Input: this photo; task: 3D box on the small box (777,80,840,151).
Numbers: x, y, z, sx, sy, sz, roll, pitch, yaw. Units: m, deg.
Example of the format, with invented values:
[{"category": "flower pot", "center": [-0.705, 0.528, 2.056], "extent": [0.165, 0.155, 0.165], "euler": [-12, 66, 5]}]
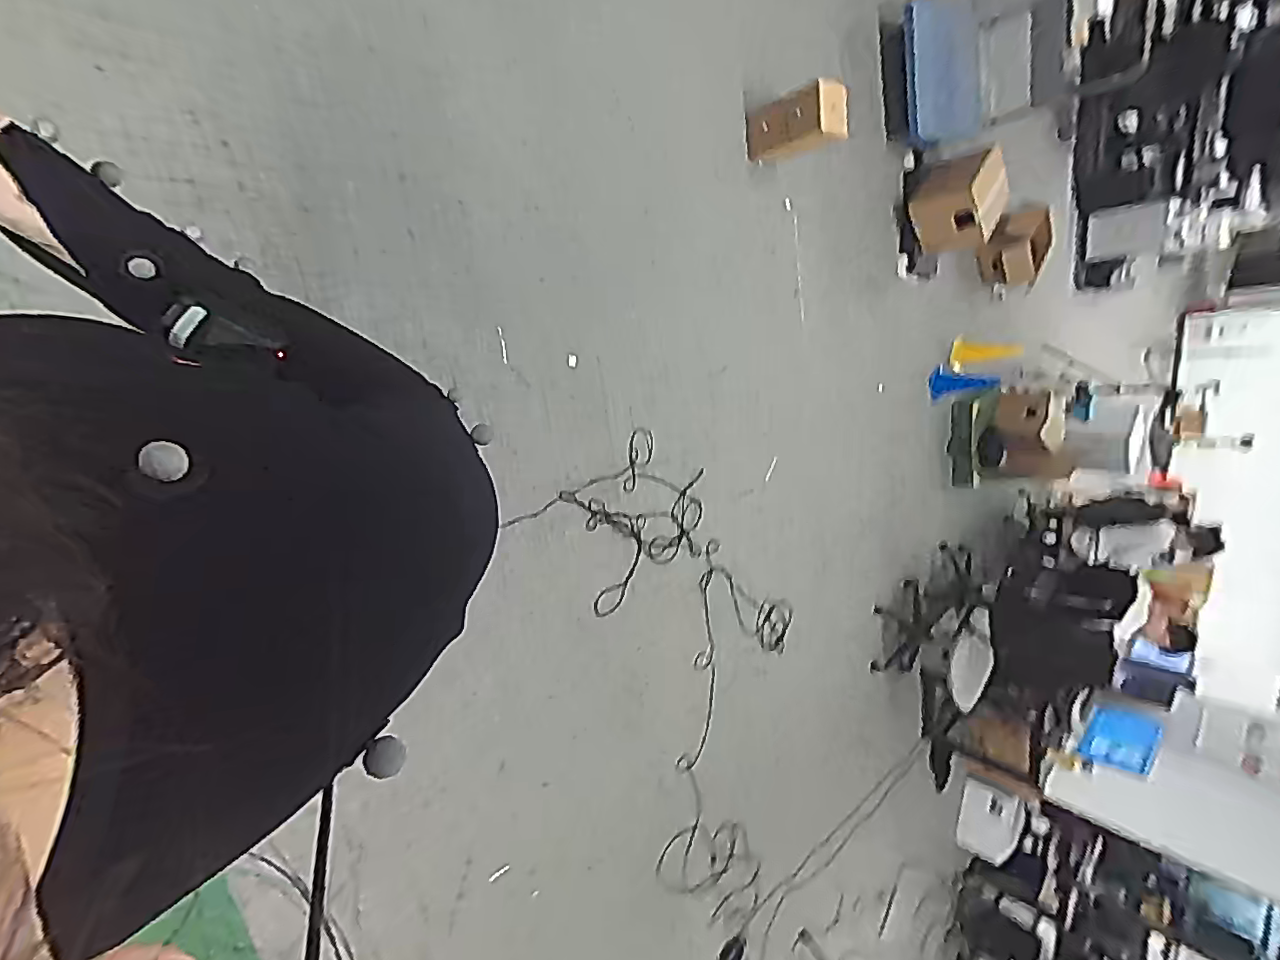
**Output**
[{"category": "small box", "center": [0.629, -1.360, 2.033], "extent": [0.179, 0.176, 0.168], "euler": [-18, 108, -38]}]

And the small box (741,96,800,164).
[{"category": "small box", "center": [0.520, -1.385, 2.154], "extent": [0.168, 0.176, 0.179], "euler": [-18, 107, -37]}]
